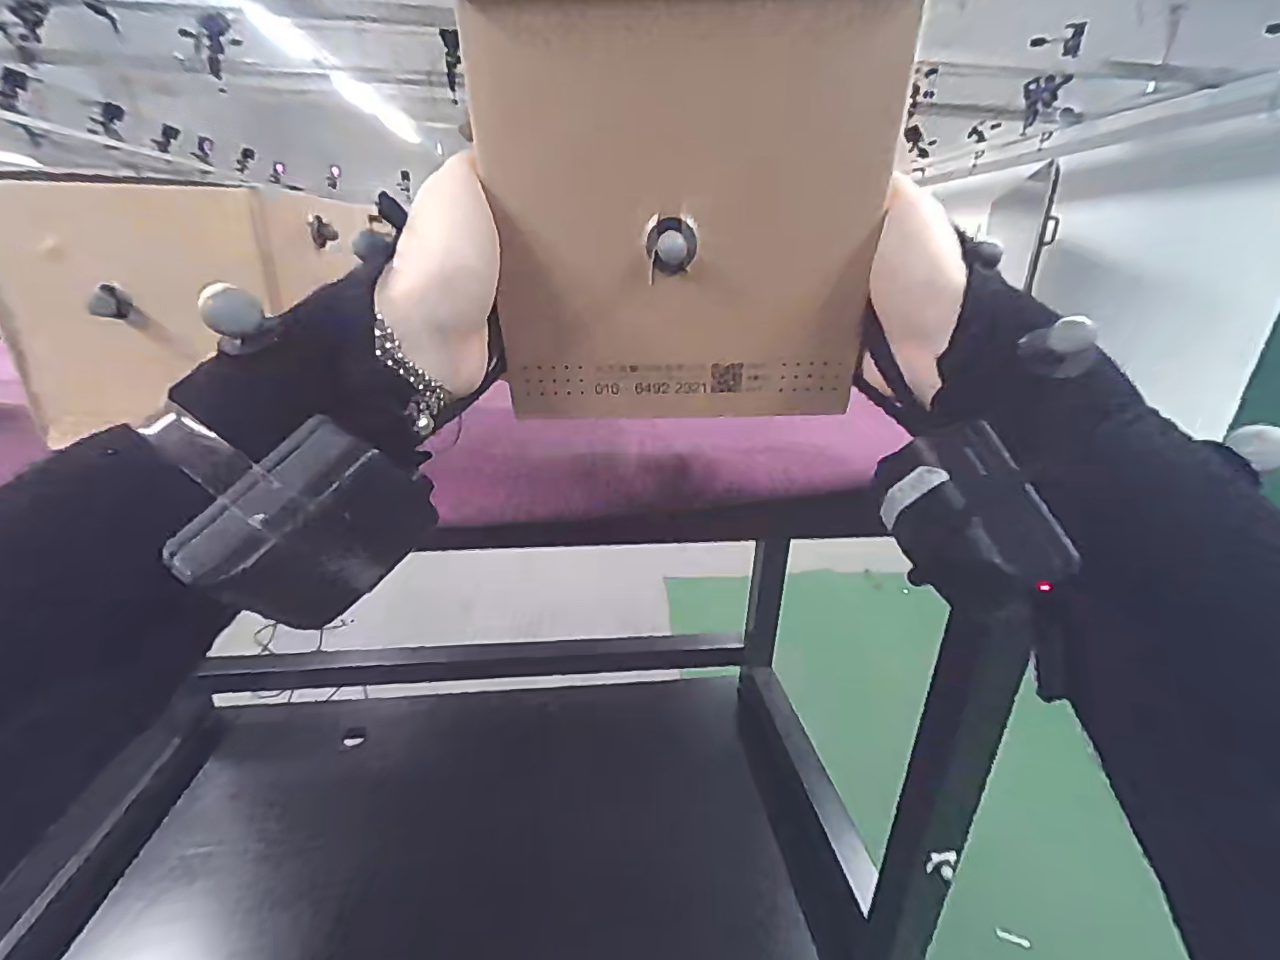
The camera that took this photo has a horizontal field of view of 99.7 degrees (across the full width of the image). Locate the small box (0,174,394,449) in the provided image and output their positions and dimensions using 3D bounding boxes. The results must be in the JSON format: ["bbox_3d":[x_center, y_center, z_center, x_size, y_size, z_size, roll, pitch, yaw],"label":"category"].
[{"bbox_3d":[-0.314,-0.125,0.414,0.179,0.176,0.168,-1,23,-4],"label":"small box"}]

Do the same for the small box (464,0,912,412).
[{"bbox_3d":[0.019,-0.145,0.303,0.168,0.176,0.179,0,31,0],"label":"small box"}]
